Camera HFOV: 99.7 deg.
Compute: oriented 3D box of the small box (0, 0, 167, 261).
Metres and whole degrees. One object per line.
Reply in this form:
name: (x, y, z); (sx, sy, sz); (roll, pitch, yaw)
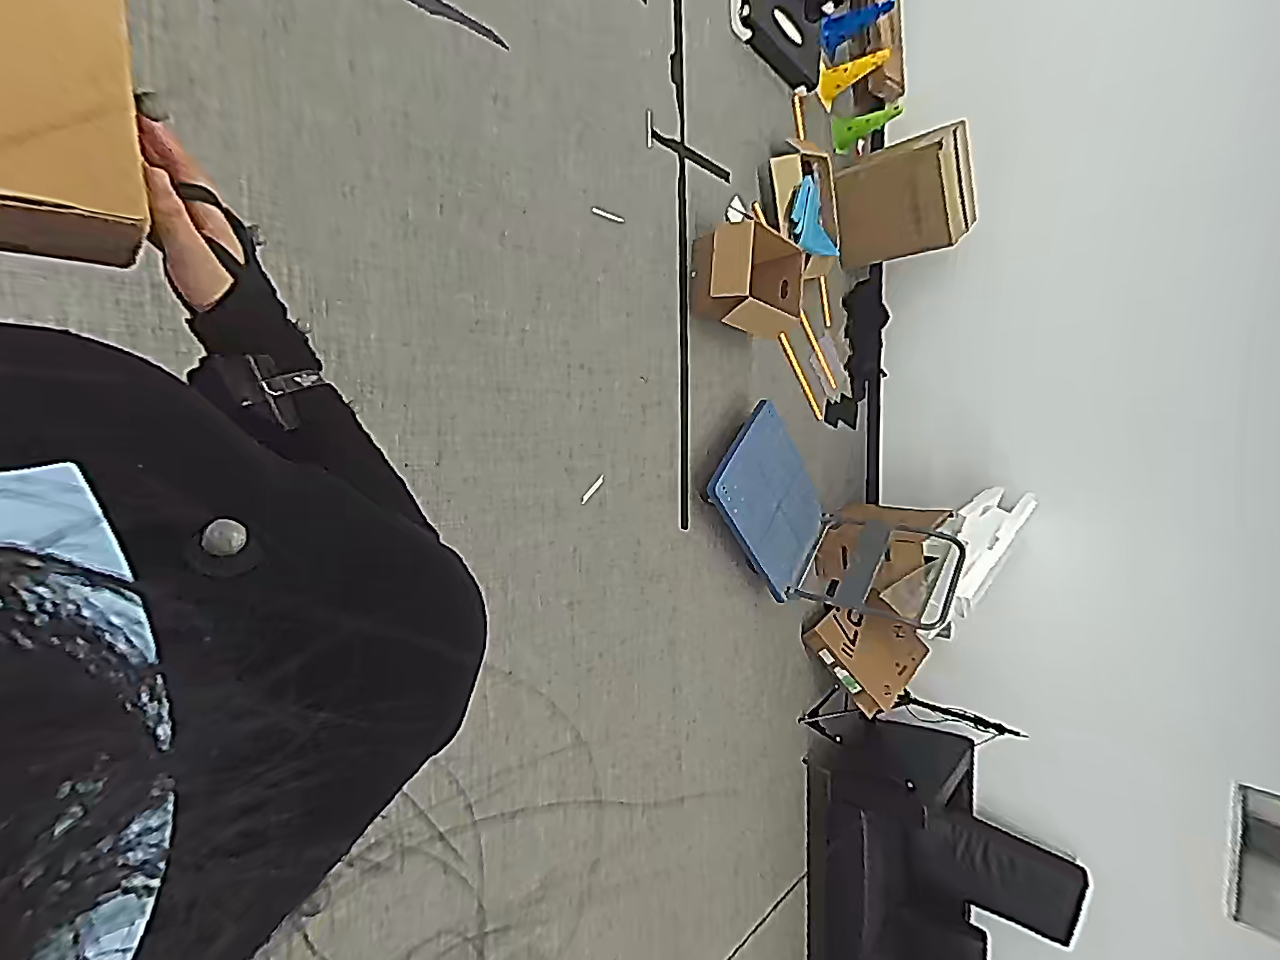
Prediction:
small box: (-0.386, -0.237, 0.298); (0.168, 0.176, 0.179); (-7, 103, -46)
